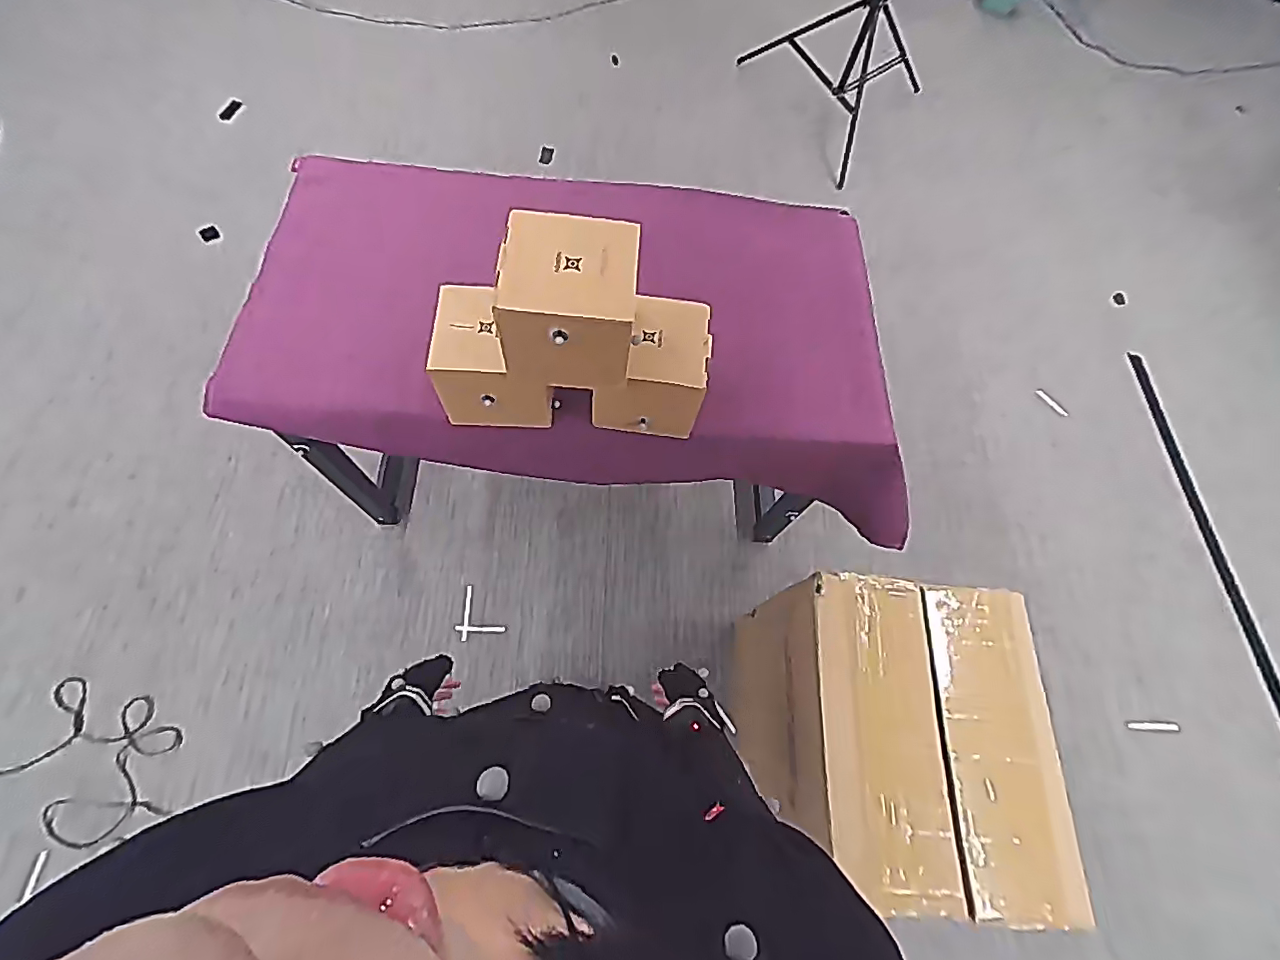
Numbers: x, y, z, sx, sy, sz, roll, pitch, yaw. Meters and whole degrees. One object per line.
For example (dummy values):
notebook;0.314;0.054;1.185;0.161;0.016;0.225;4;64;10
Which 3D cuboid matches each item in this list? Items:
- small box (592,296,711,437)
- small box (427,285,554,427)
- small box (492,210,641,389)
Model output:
small box;0.015;-0.188;0.927;0.179;0.176;0.168;7;65;-2
small box;-0.234;-0.199;0.905;0.179;0.176;0.168;2;65;-4
small box;-0.096;-0.244;0.761;0.179;0.176;0.168;5;67;-4
